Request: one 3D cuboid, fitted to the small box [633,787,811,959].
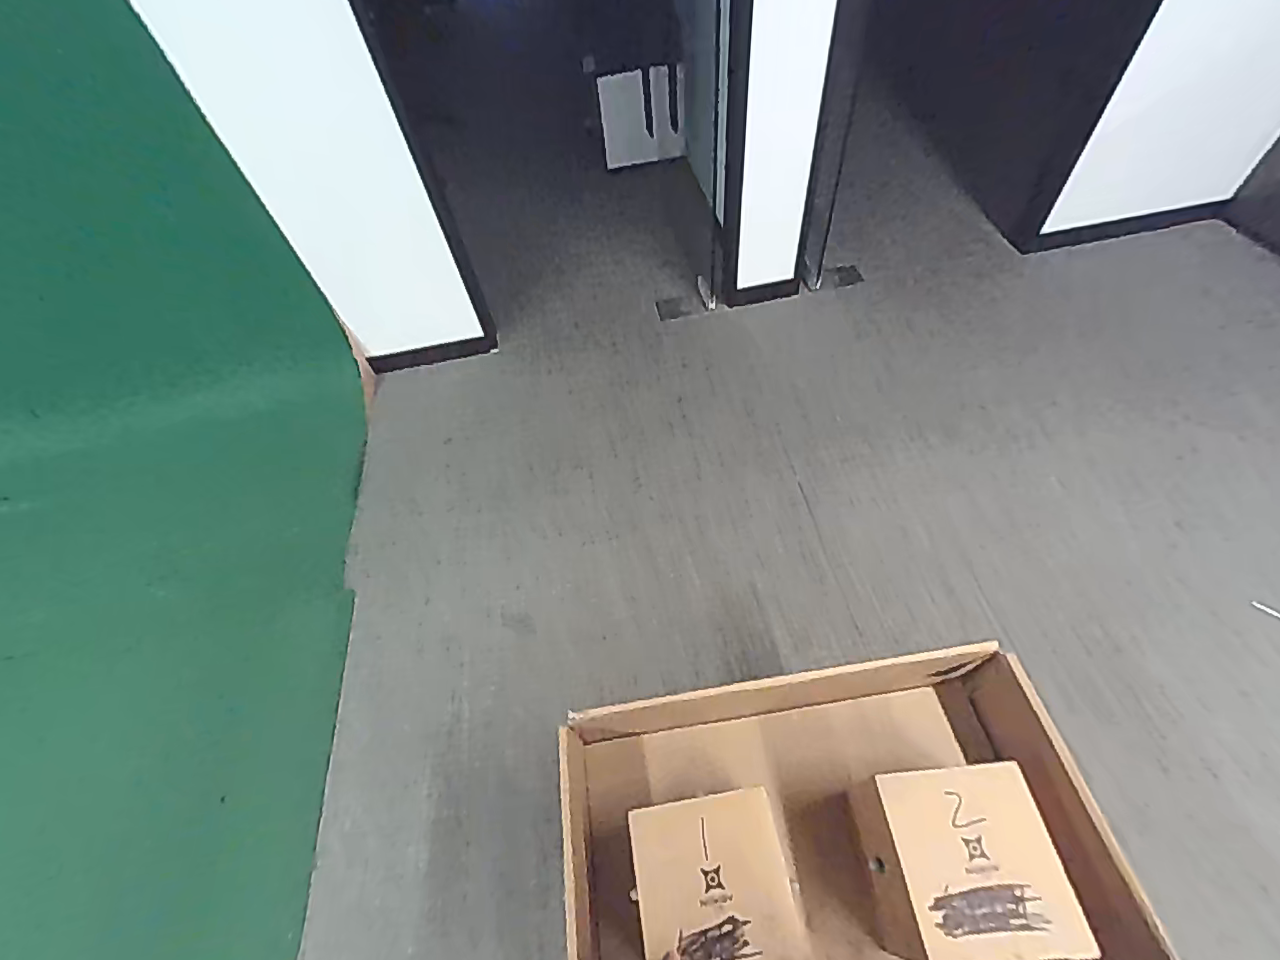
[{"bbox_3d":[0.093,0.489,0.647,0.168,0.176,0.179,-11,53,0],"label":"small box"}]
